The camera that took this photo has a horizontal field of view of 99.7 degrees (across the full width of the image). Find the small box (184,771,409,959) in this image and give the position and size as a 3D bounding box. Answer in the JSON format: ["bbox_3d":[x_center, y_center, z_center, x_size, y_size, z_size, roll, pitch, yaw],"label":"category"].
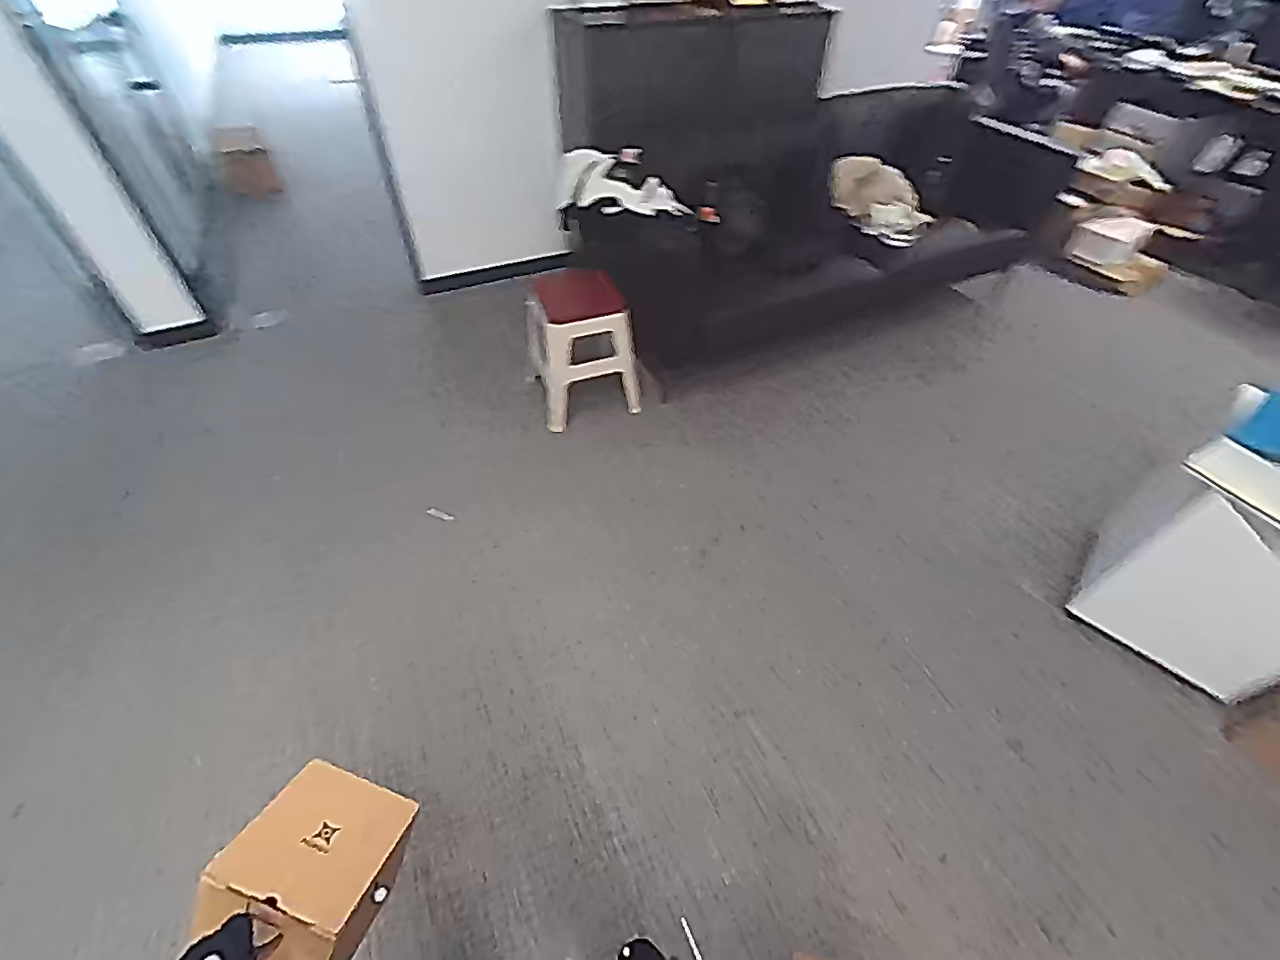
[{"bbox_3d":[-0.430,0.523,0.684,0.168,0.176,0.179,22,14,0],"label":"small box"}]
